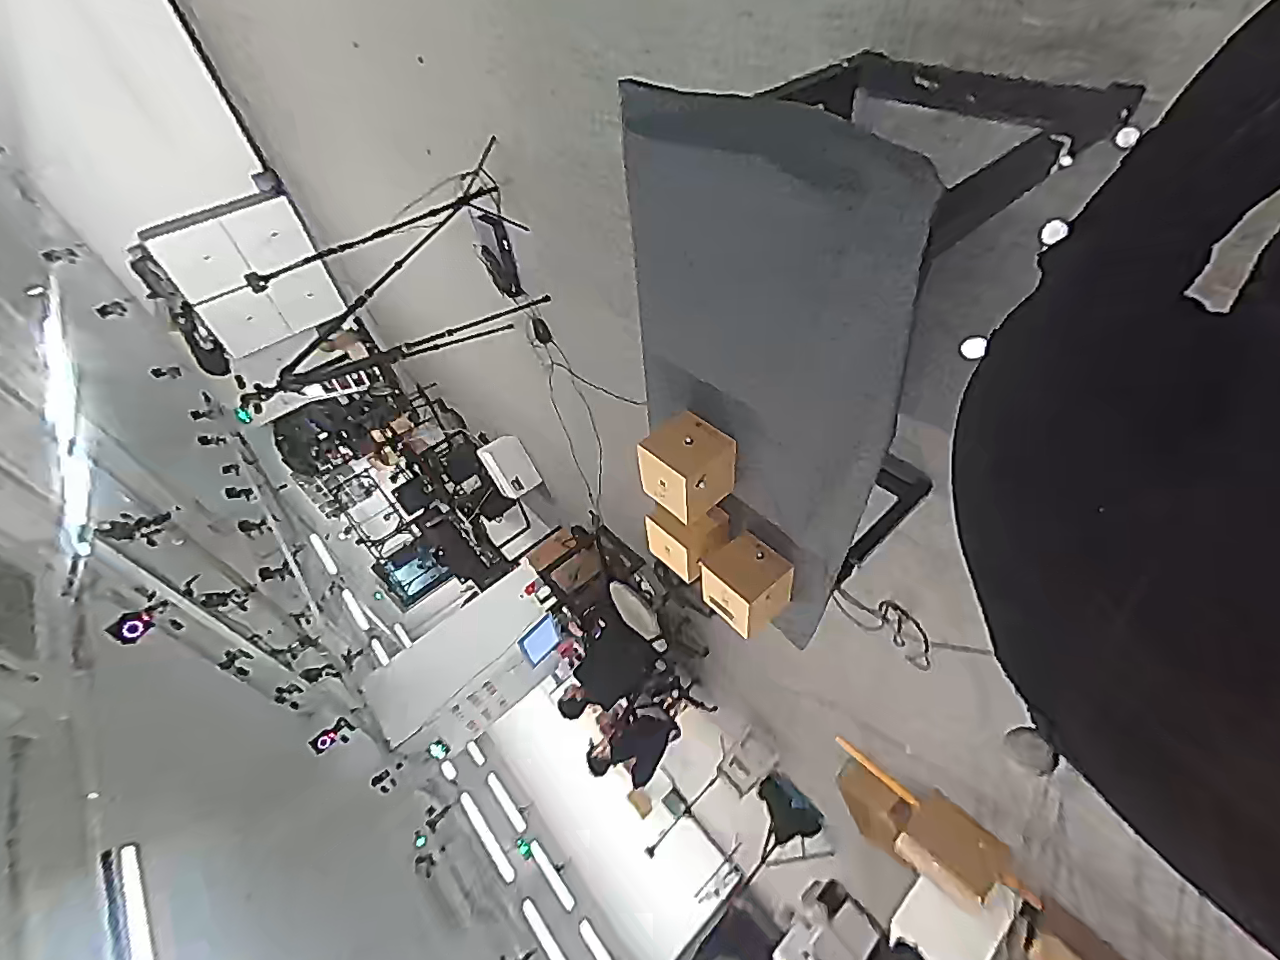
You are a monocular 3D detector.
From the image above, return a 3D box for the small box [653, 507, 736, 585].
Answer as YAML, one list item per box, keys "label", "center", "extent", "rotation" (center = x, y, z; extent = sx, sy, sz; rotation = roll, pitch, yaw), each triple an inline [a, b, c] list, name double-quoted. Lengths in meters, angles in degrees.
- label: "small box"
  center: [0.158, 0.158, 1.540]
  extent: [0.168, 0.176, 0.179]
  rotation: [37, 153, 34]

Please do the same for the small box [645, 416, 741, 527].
- label: "small box"
  center: [0.133, -0.027, 1.322]
  extent: [0.168, 0.176, 0.179]
  rotation: [38, 153, 34]
